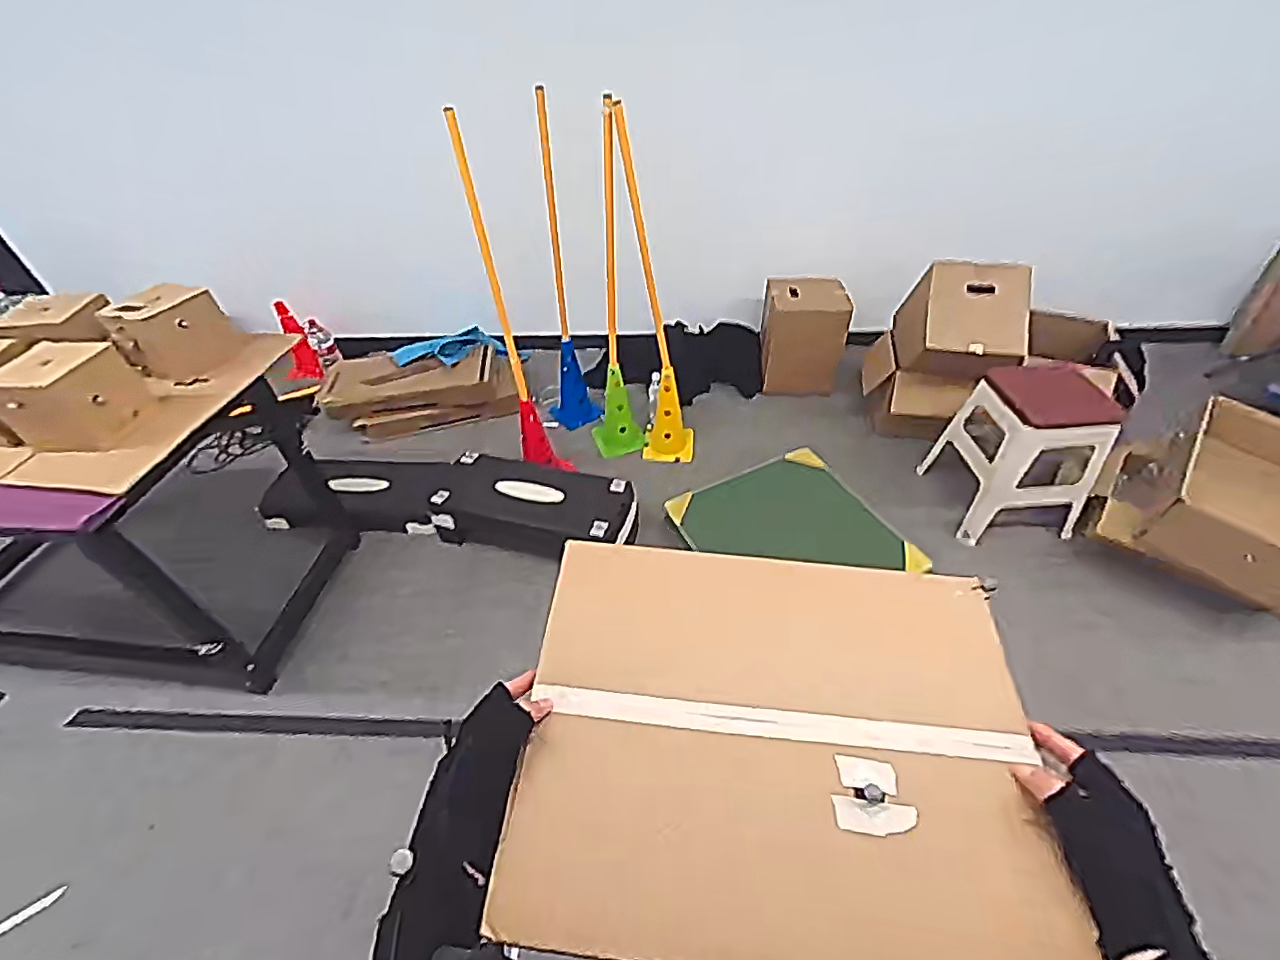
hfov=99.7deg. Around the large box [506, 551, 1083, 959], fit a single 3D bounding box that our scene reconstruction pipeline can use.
[{"bbox_3d":[0.111,0.299,0.574,0.408,0.320,0.320,5,51,3],"label":"large box"}]
